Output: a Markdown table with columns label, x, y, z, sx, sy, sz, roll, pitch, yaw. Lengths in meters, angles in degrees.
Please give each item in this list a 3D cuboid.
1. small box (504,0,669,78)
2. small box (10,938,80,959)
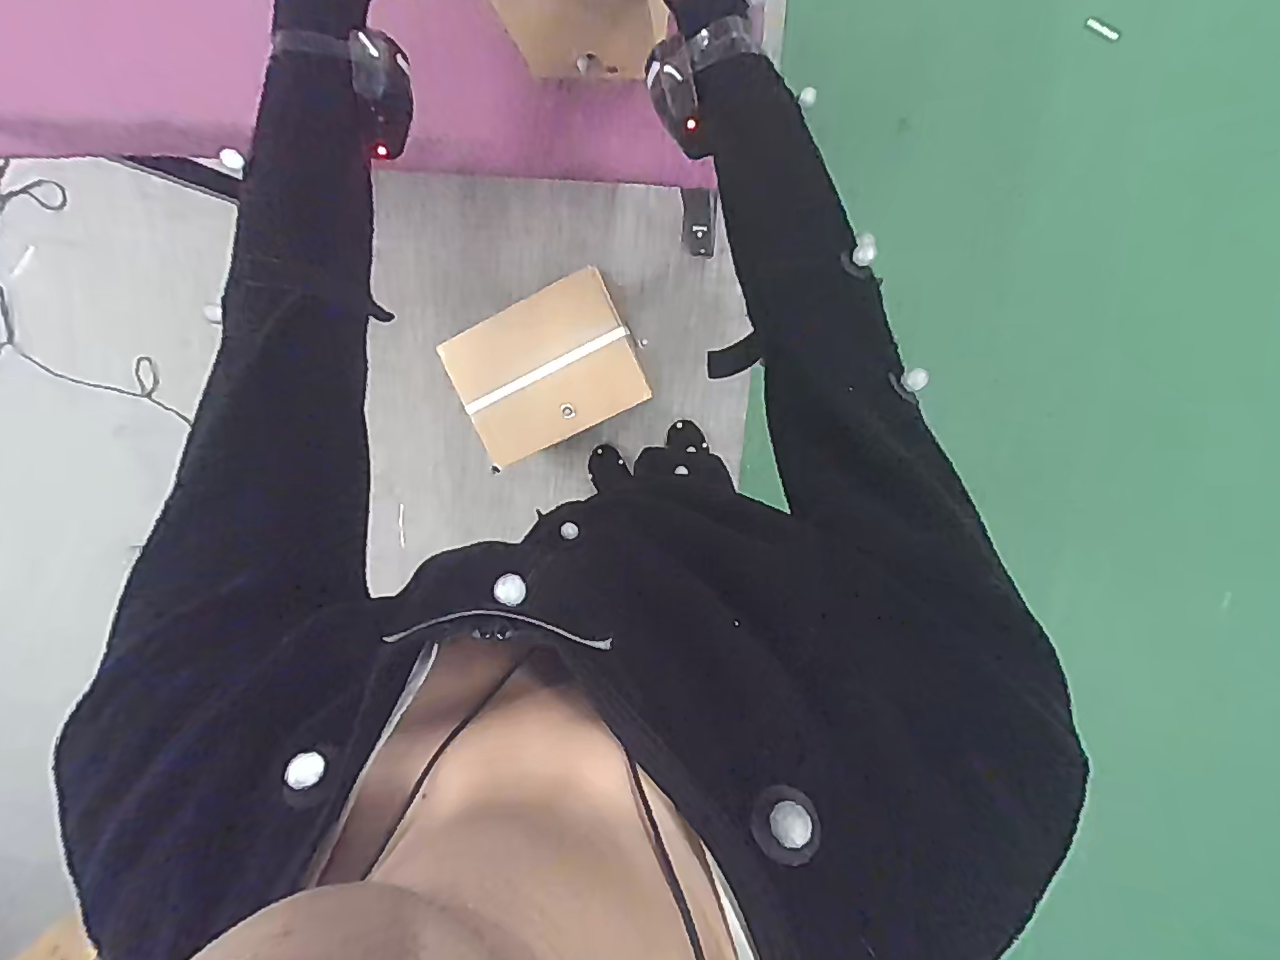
| label | x | y | z | sx | sy | sz | roll | pitch | yaw |
| --- | --- | --- | --- | --- | --- | --- | --- | --- | --- |
| small box | -0.057 | -0.577 | 0.581 | 0.168 | 0.176 | 0.179 | 6 | 102 | 7 |
| small box | -1.615 | 1.368 | 1.410 | 0.168 | 0.176 | 0.179 | 24 | 102 | 2 |
